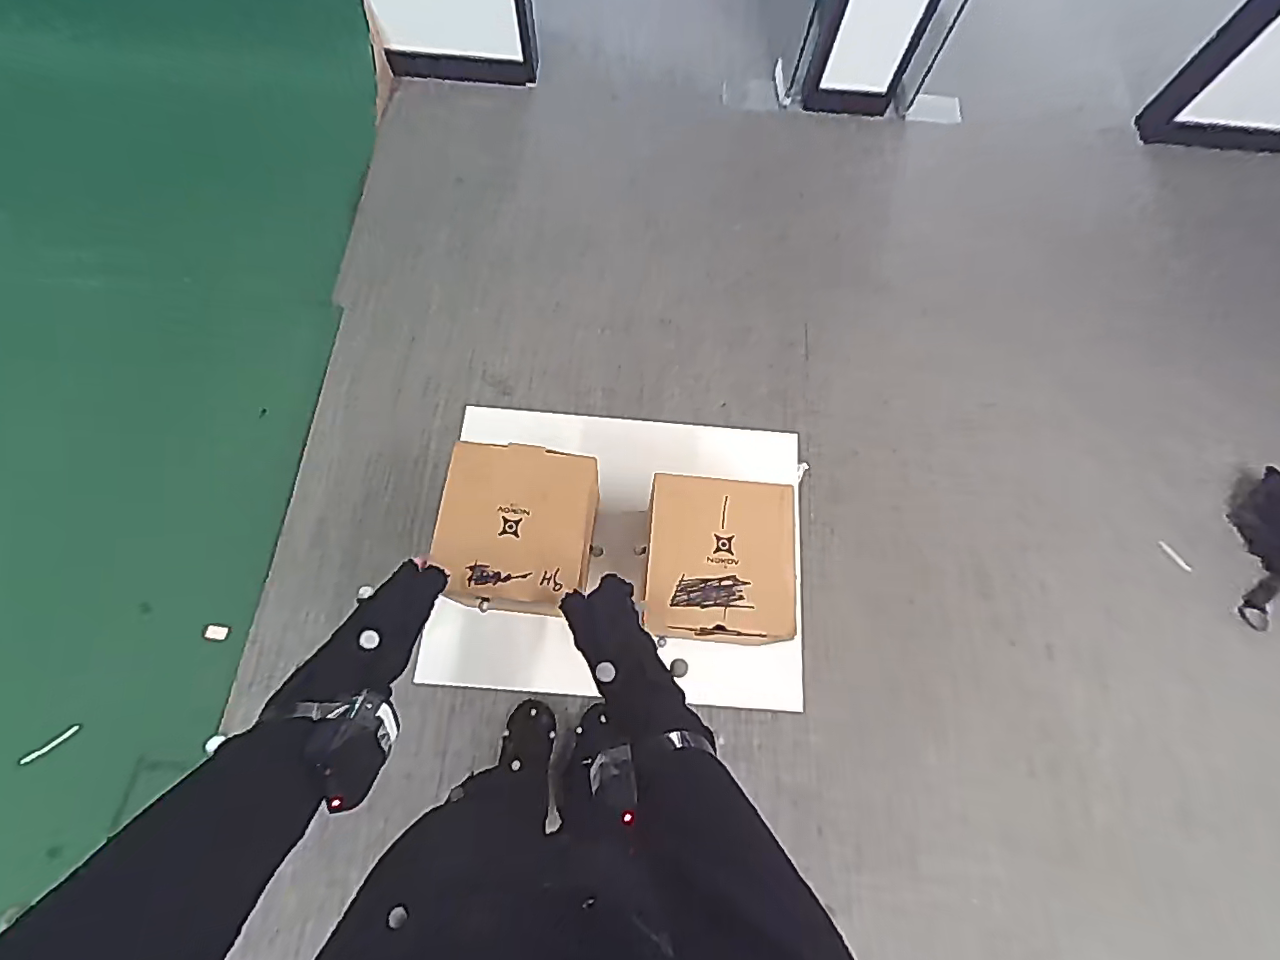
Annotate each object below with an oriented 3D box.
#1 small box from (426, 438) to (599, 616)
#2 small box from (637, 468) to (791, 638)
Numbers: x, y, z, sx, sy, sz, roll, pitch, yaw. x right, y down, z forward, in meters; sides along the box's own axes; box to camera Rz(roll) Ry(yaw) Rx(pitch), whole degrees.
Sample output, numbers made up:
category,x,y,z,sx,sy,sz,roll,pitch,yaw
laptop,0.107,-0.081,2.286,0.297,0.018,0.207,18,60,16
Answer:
category,x,y,z,sx,sy,sz,roll,pitch,yaw
small box,-0.145,0.067,0.687,0.168,0.176,0.179,7,70,1
small box,0.086,0.102,0.684,0.168,0.176,0.179,6,70,0
